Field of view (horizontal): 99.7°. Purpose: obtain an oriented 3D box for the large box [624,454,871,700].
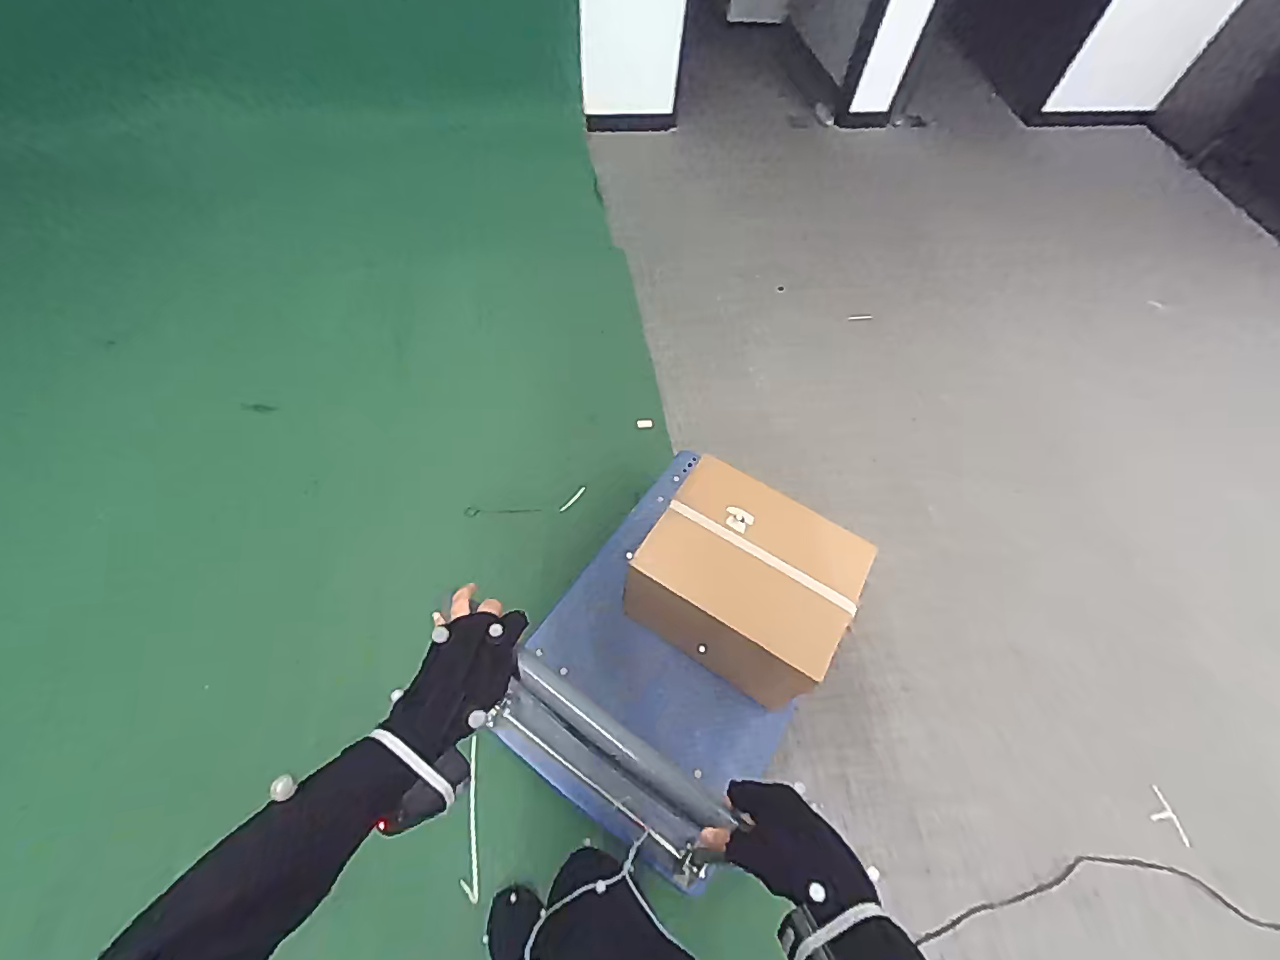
[{"bbox_3d":[0.212,0.220,1.186,0.408,0.320,0.320,30,61,14],"label":"large box"}]
